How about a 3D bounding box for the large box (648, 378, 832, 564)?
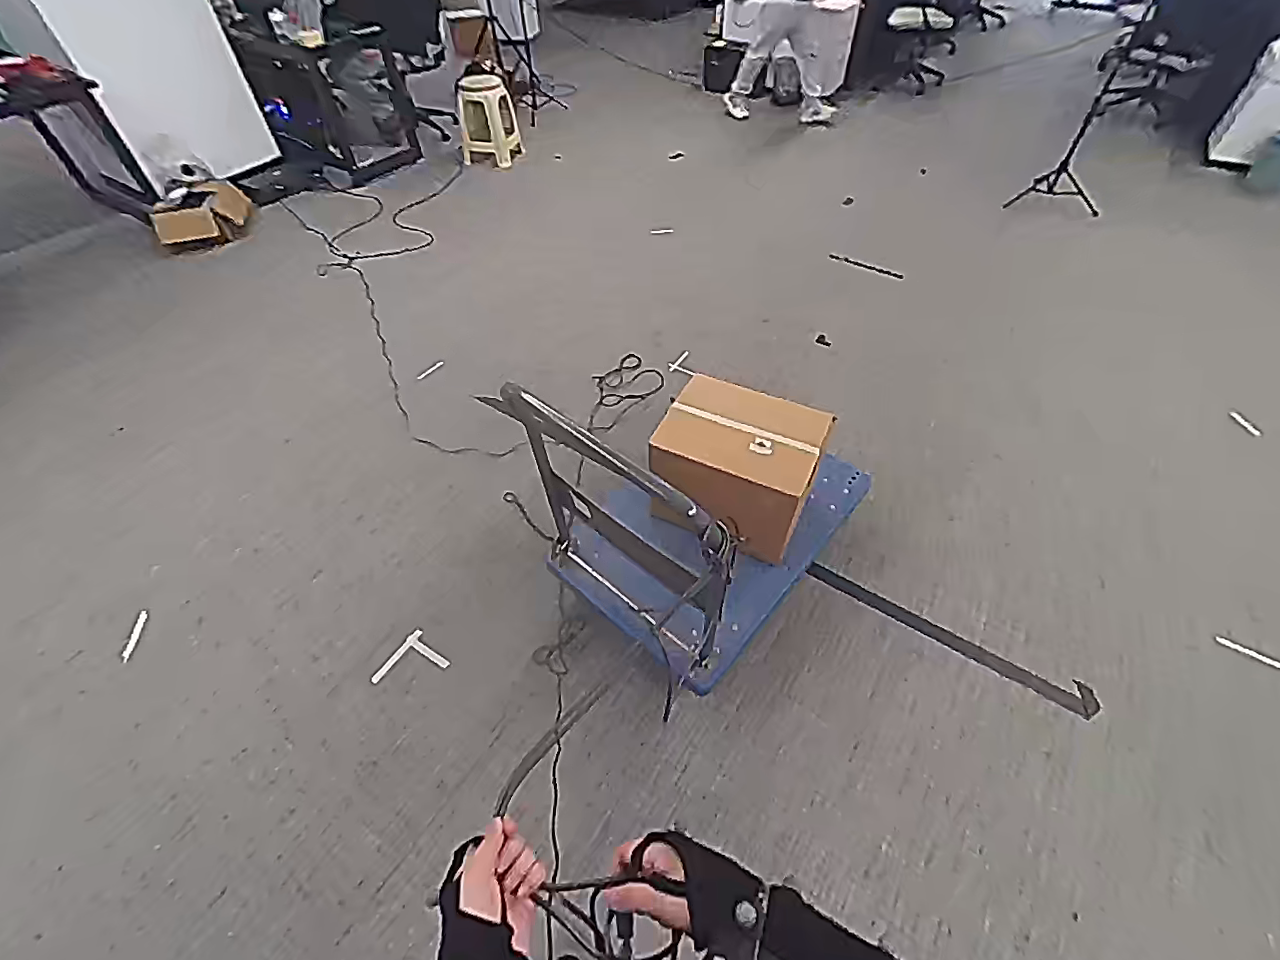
[{"bbox_3d":[0.263,-0.028,1.513,0.408,0.320,0.320,21,54,18],"label":"large box"}]
